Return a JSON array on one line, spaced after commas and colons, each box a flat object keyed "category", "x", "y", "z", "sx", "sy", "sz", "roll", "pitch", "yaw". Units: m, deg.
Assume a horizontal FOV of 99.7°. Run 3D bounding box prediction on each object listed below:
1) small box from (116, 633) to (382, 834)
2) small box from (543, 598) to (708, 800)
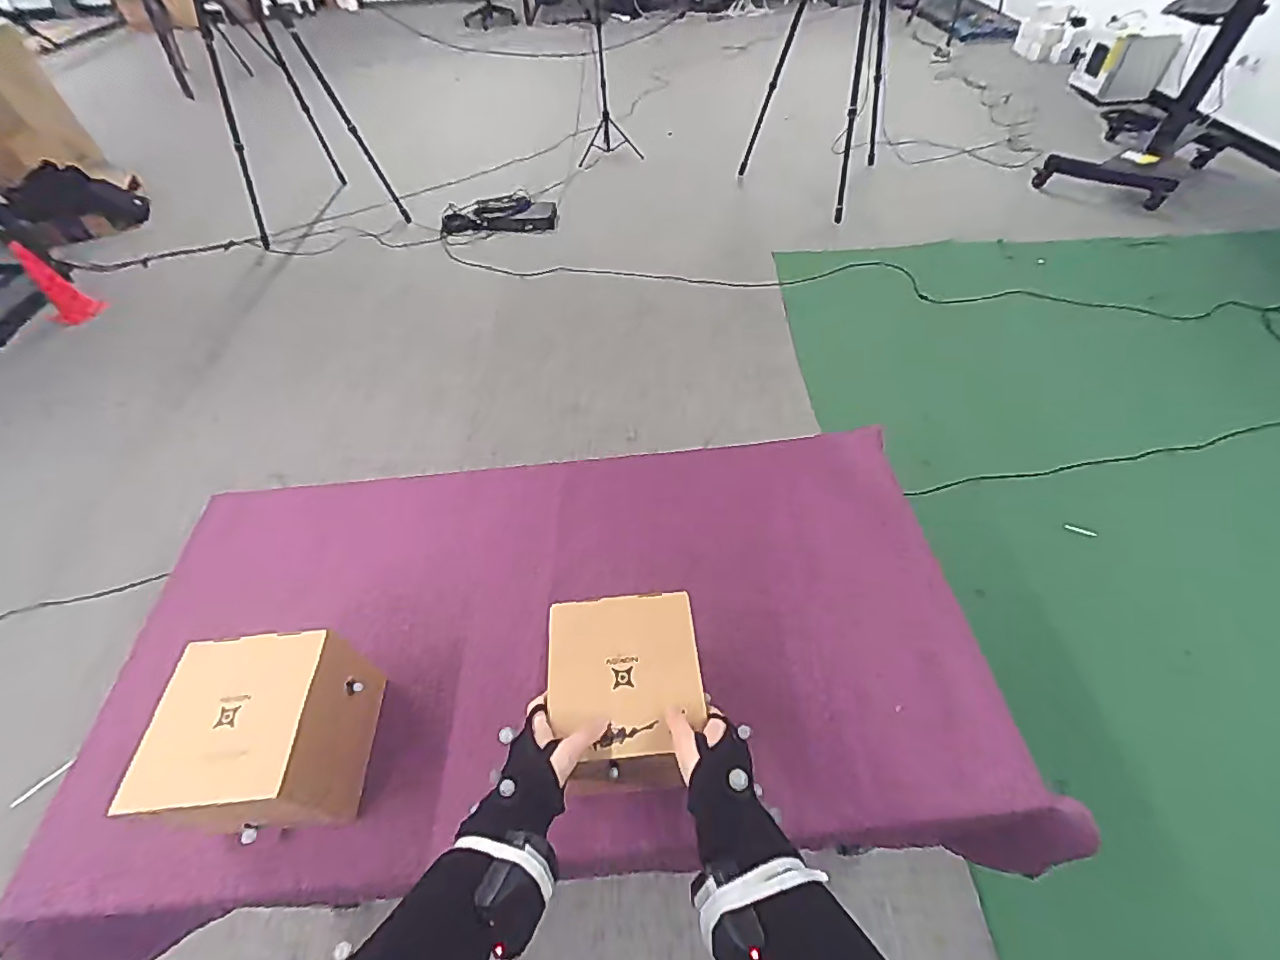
[{"category": "small box", "x": -0.432, "y": 0.302, "z": 0.640, "sx": 0.168, "sy": 0.176, "sz": 0.179, "roll": -5, "pitch": 51, "yaw": 0}, {"category": "small box", "x": -0.014, "y": 0.263, "z": 0.646, "sx": 0.168, "sy": 0.176, "sz": 0.179, "roll": -6, "pitch": 51, "yaw": 1}]
